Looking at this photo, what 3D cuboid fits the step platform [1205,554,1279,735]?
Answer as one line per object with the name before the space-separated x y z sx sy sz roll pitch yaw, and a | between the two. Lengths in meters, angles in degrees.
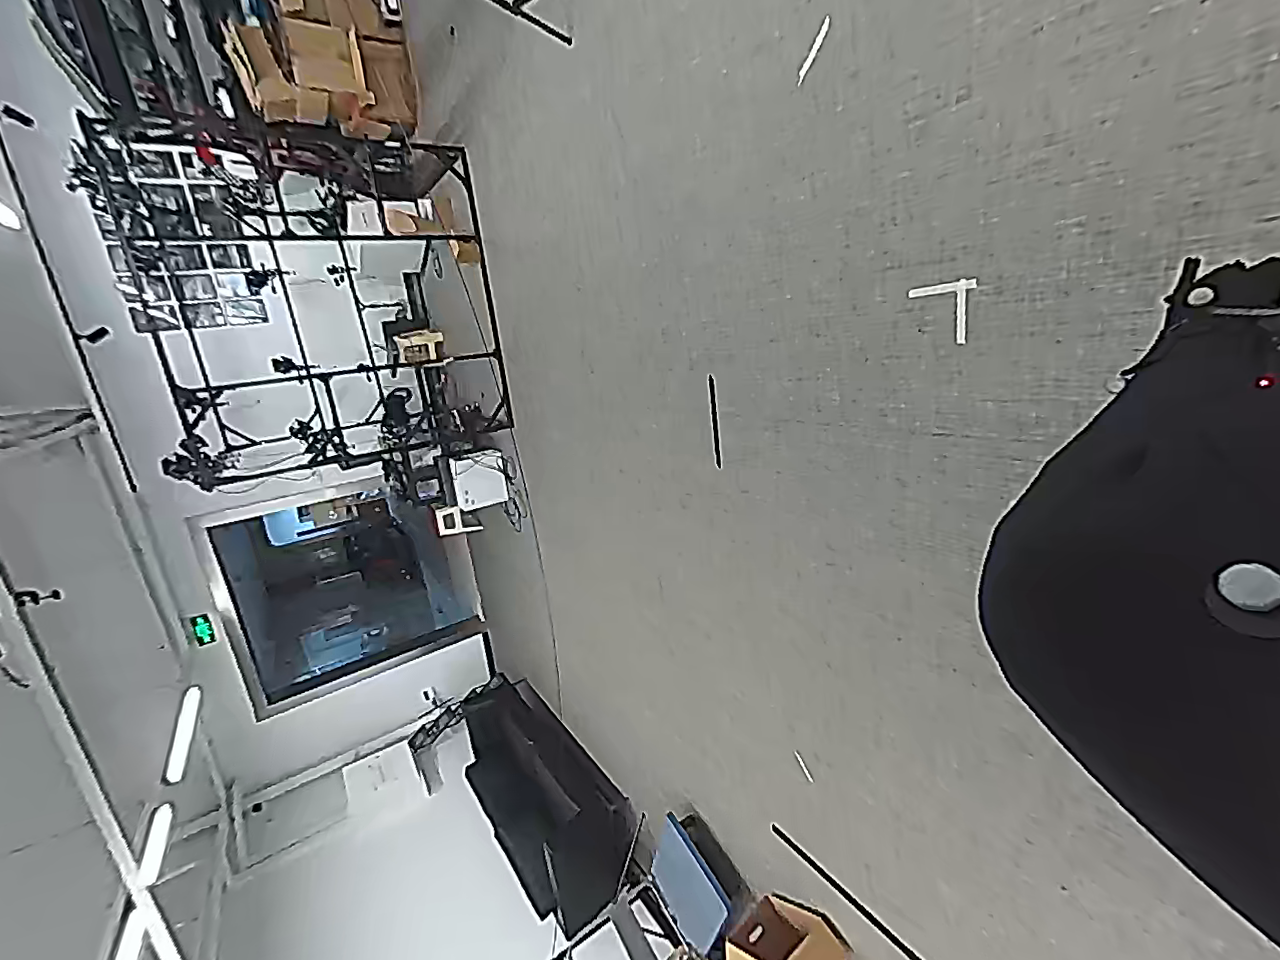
step platform | 1.302 0.337 0.772 0.684 0.204 0.286 16 117 57
